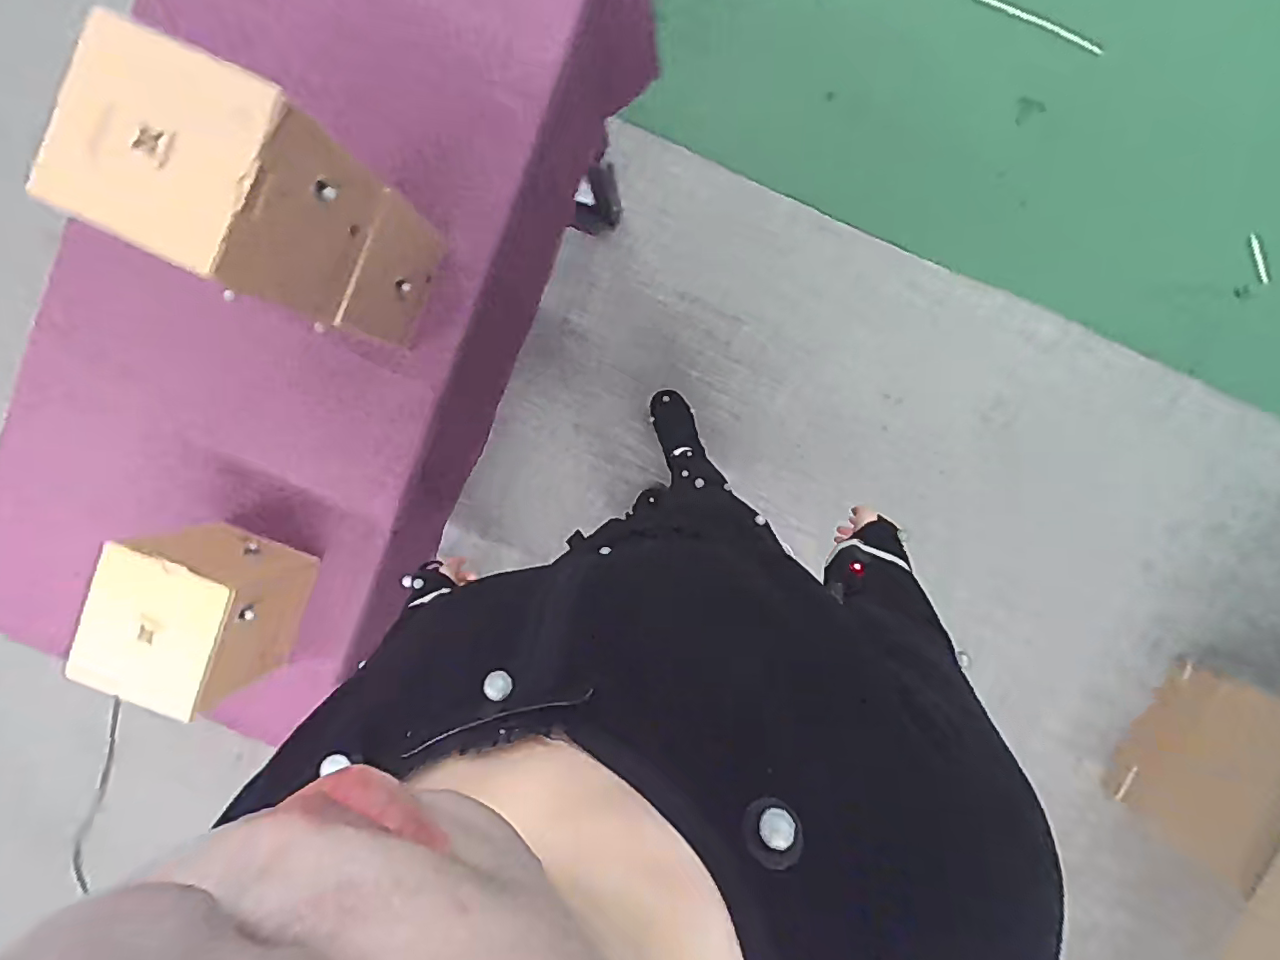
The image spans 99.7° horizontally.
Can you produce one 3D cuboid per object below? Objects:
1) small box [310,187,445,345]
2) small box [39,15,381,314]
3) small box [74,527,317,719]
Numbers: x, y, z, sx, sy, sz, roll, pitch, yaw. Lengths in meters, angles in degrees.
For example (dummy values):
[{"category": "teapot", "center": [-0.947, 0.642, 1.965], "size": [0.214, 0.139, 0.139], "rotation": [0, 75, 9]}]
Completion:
[{"category": "small box", "center": [-0.382, -0.286, 0.694], "size": [0.179, 0.176, 0.168], "rotation": [23, 93, 2]}, {"category": "small box", "center": [-0.394, -0.281, 0.531], "size": [0.179, 0.176, 0.168], "rotation": [25, 93, 2]}, {"category": "small box", "center": [-0.576, 0.177, 0.726], "size": [0.168, 0.176, 0.179], "rotation": [20, 92, 2]}]
